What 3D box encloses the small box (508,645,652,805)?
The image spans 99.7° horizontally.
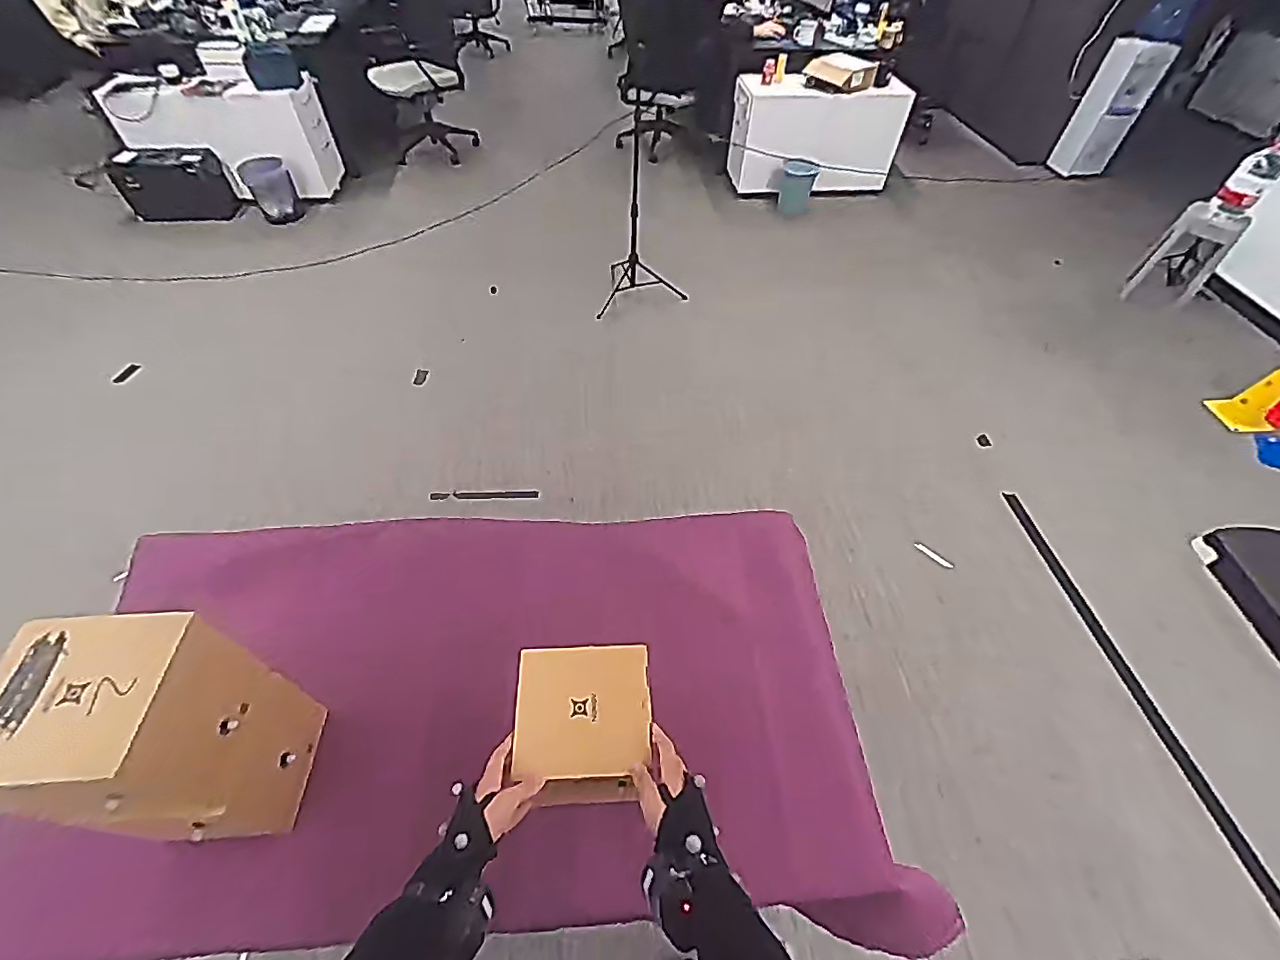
[{"bbox_3d":[-0.077,0.345,0.757,0.179,0.176,0.168,-1,50,-3],"label":"small box"}]

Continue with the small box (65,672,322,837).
[{"bbox_3d":[-0.563,0.366,0.719,0.179,0.176,0.168,0,50,-3],"label":"small box"}]
